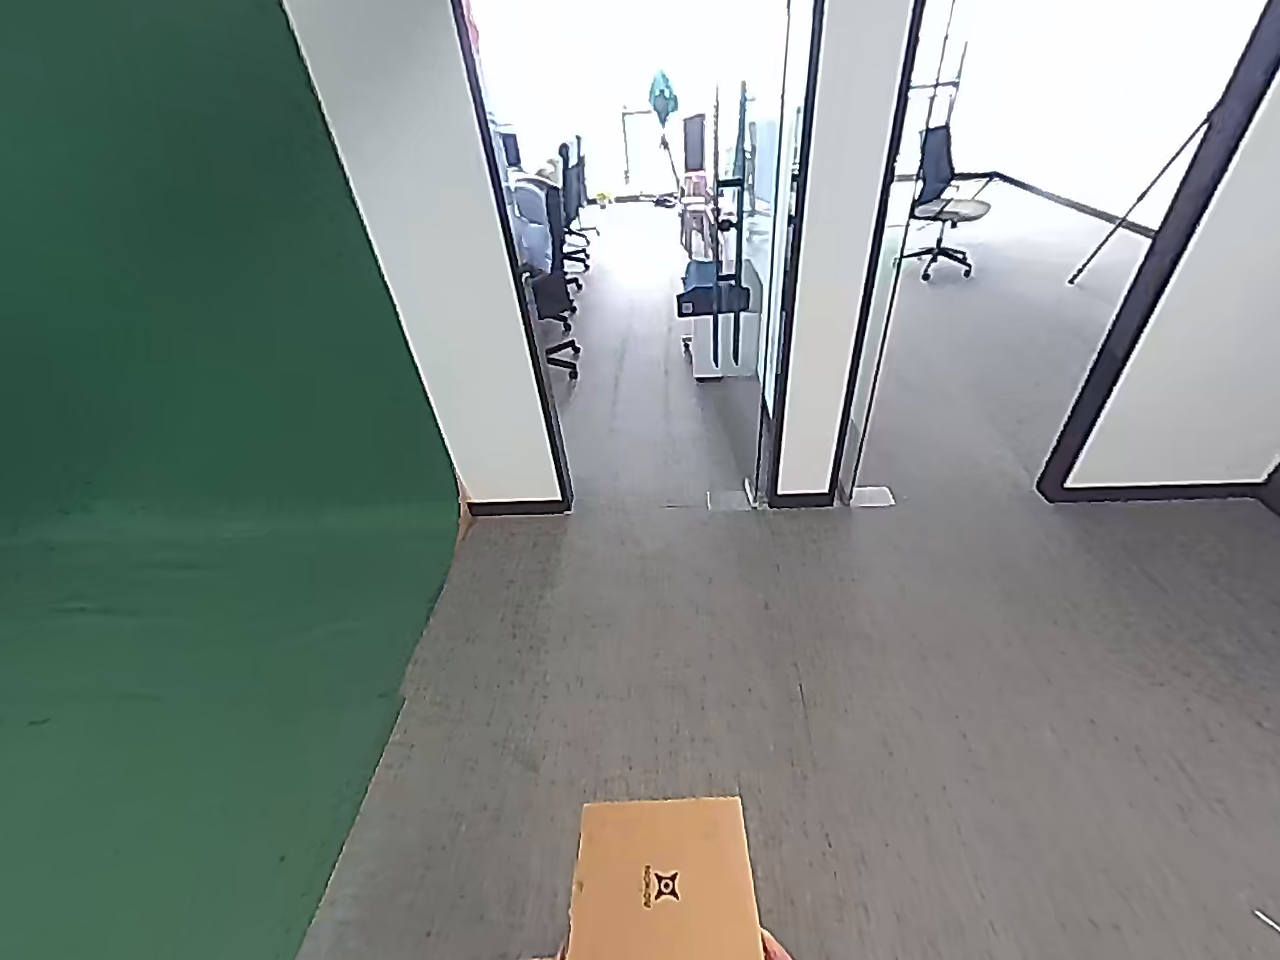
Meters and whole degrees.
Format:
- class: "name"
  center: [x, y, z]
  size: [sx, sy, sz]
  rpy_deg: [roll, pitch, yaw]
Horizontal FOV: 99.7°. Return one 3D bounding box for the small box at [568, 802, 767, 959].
- class: "small box"
  center: [0.031, 0.461, 0.551]
  size: [0.179, 0.176, 0.168]
  rpy_deg: [-5, 27, 4]
